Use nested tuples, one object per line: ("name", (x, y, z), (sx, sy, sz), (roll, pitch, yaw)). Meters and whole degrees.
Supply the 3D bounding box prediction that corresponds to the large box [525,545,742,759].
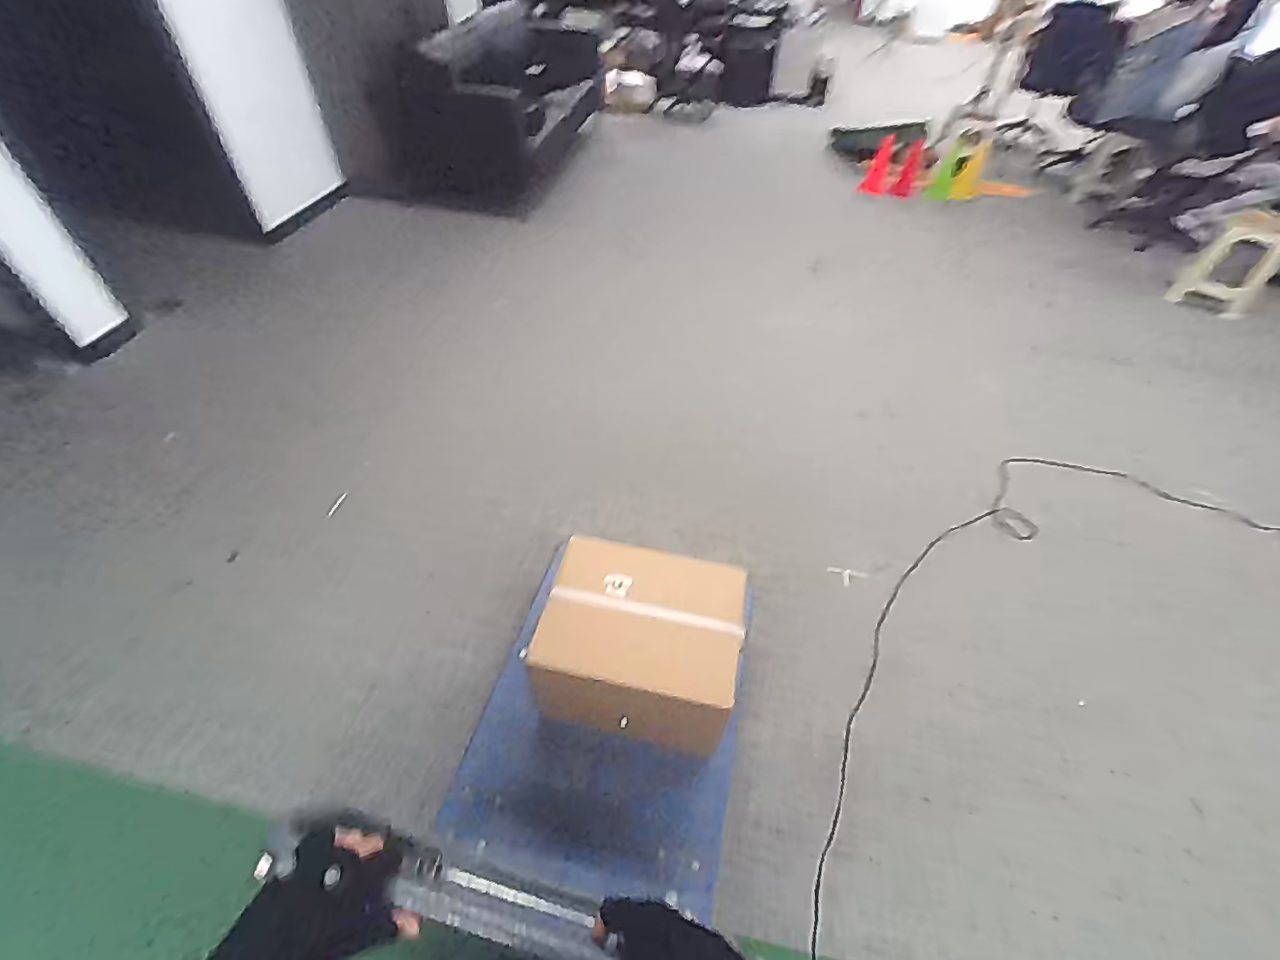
("large box", (0.000, 0.389, 1.222), (0.408, 0.320, 0.320), (10, 47, 7))
